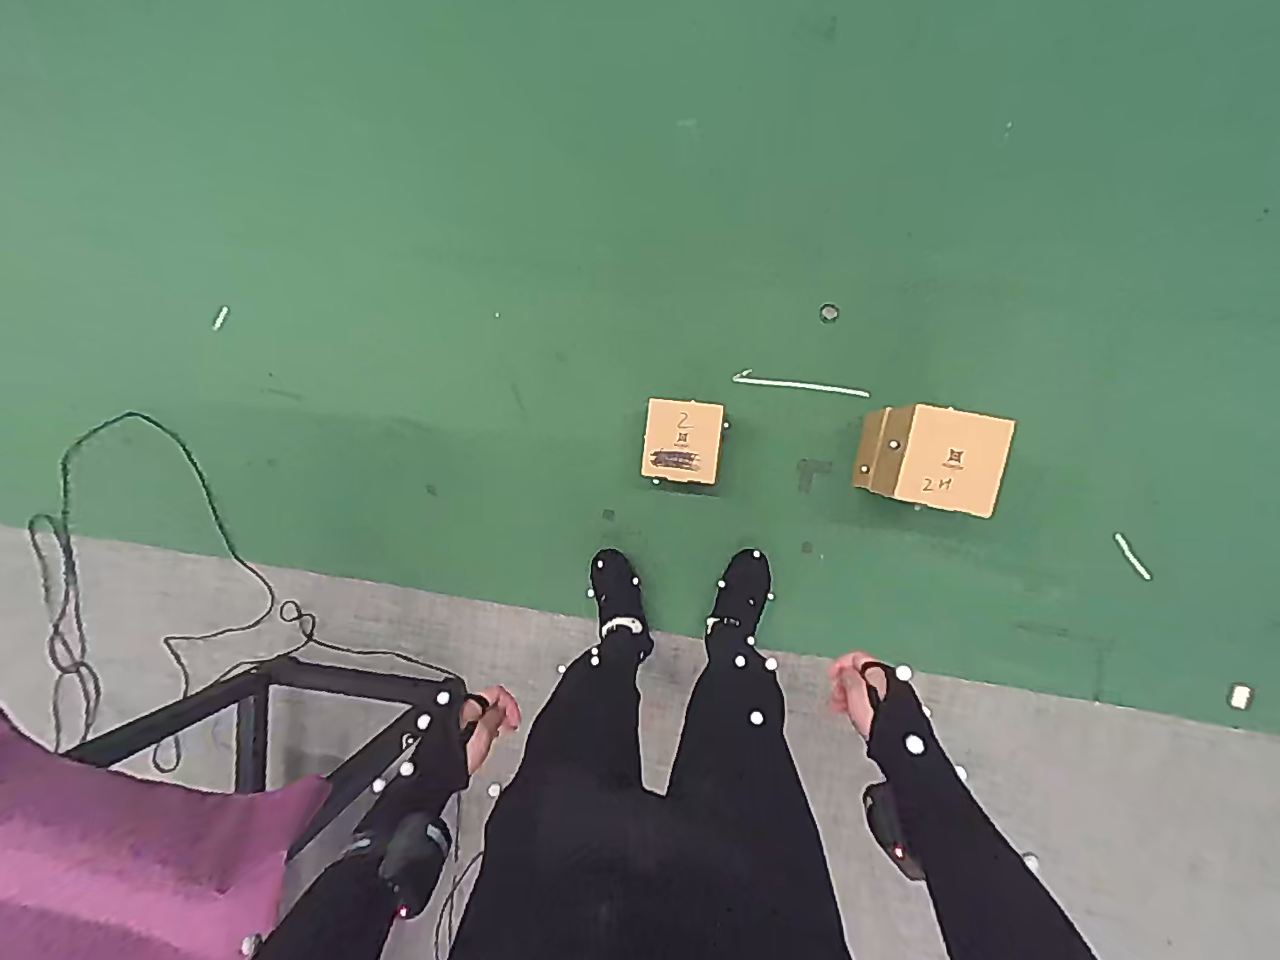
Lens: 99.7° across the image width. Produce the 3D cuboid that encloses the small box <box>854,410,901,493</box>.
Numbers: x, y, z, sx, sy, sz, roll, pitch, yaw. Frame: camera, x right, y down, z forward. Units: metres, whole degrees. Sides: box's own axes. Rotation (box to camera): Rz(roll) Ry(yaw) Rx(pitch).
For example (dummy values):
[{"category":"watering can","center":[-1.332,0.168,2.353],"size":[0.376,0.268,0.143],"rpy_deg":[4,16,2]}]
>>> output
[{"category":"small box","center":[0.583,-0.049,1.183],"size":[0.168,0.176,0.179],"rpy_deg":[11,95,8]}]

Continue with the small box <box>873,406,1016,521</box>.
[{"category":"small box","center":[0.560,-0.034,1.021],"size":[0.168,0.176,0.179],"rpy_deg":[12,96,8]}]
